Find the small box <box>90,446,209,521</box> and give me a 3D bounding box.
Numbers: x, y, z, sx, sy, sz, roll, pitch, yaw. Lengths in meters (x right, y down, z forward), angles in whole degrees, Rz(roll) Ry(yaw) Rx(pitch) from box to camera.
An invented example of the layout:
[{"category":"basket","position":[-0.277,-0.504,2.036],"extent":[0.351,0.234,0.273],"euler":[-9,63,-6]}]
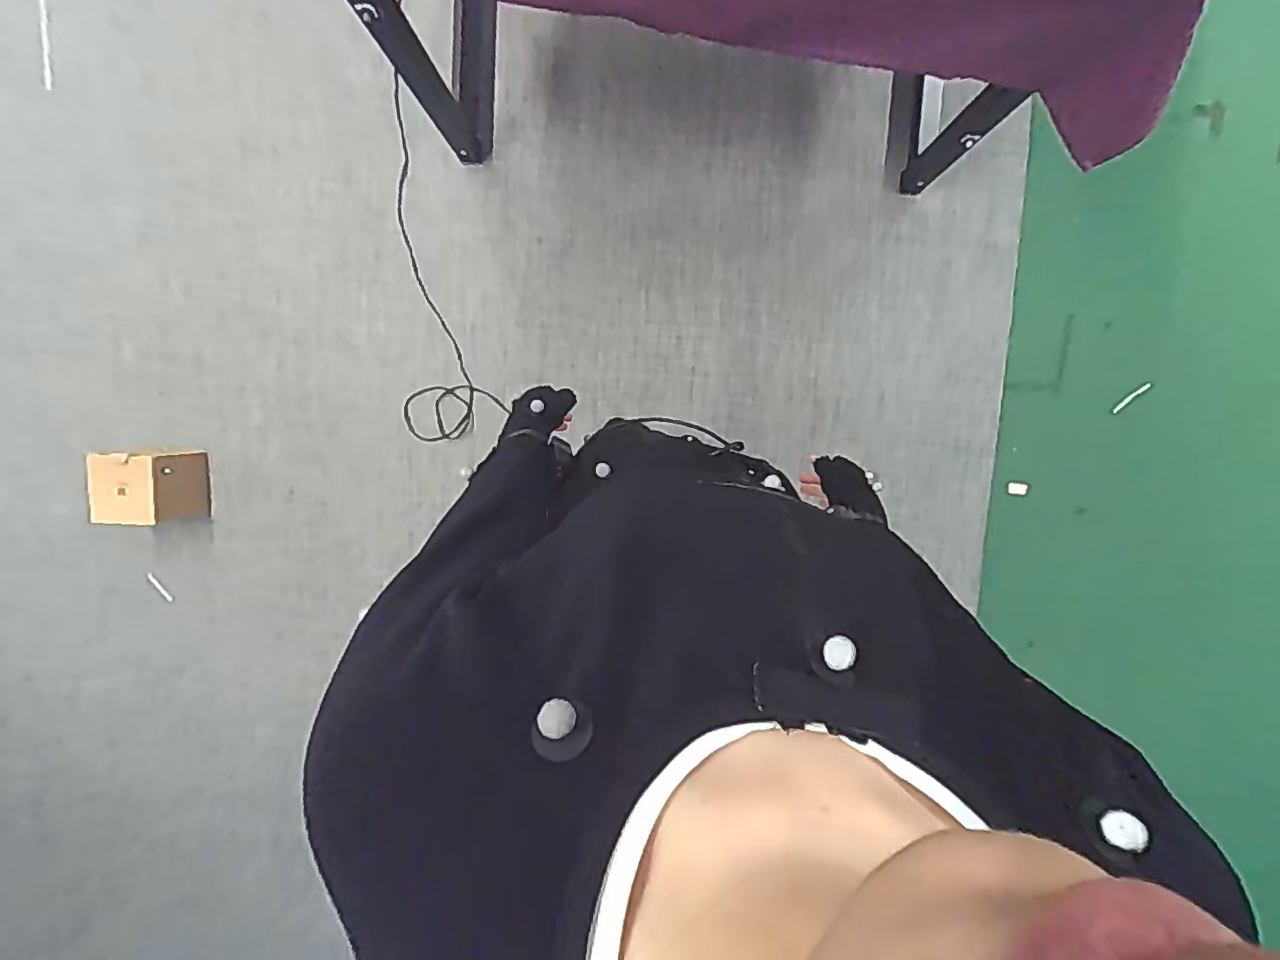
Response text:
[{"category":"small box","position":[-1.267,0.004,1.410],"extent":[0.168,0.176,0.179],"euler":[2,95,1]}]
